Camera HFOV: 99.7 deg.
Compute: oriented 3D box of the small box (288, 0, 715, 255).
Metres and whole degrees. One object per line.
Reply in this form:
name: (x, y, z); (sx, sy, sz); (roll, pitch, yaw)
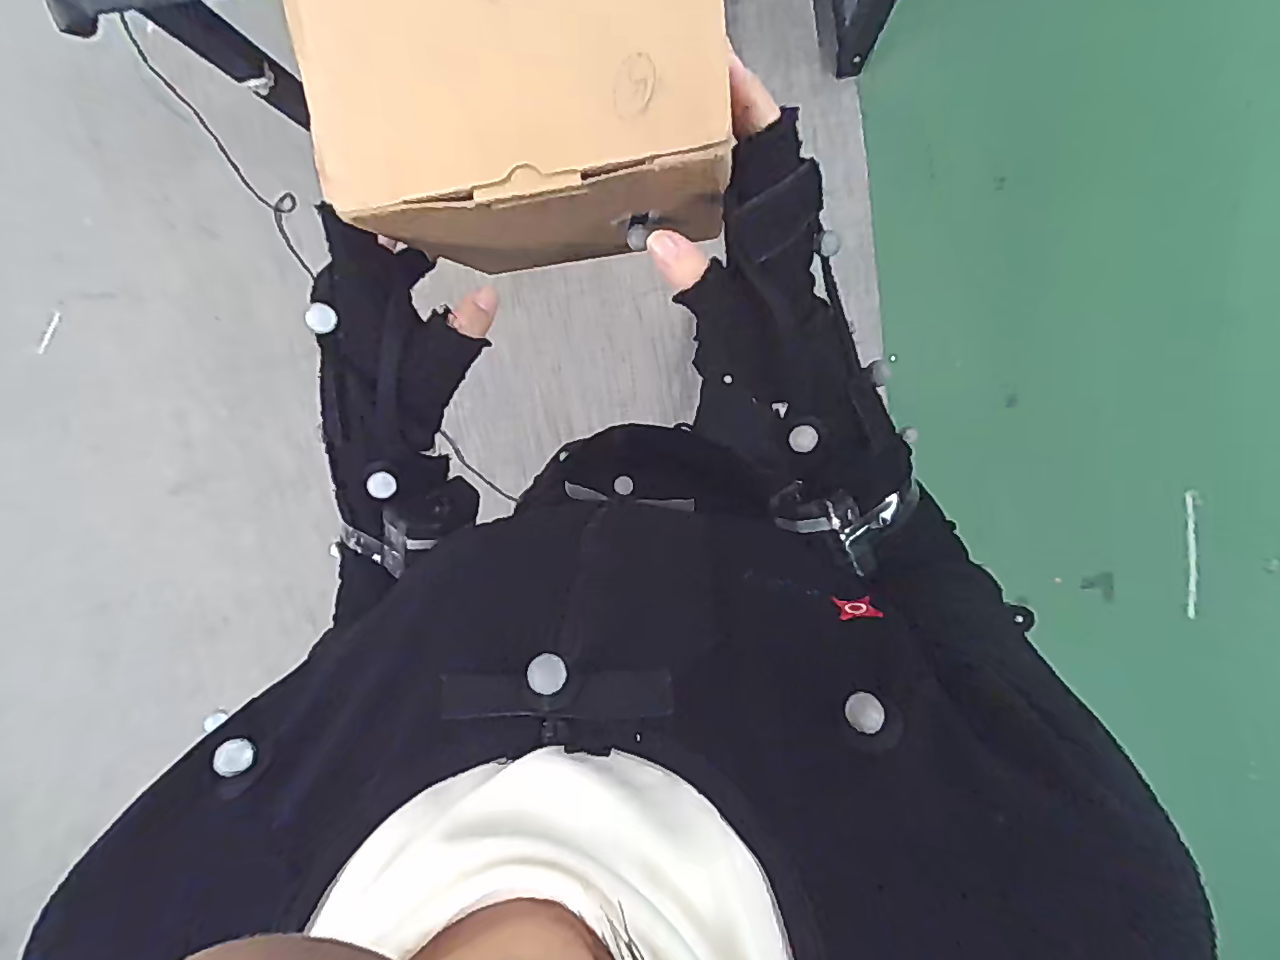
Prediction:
small box: (-0.050, -0.225, 0.278); (0.168, 0.176, 0.179); (-6, 102, 7)
